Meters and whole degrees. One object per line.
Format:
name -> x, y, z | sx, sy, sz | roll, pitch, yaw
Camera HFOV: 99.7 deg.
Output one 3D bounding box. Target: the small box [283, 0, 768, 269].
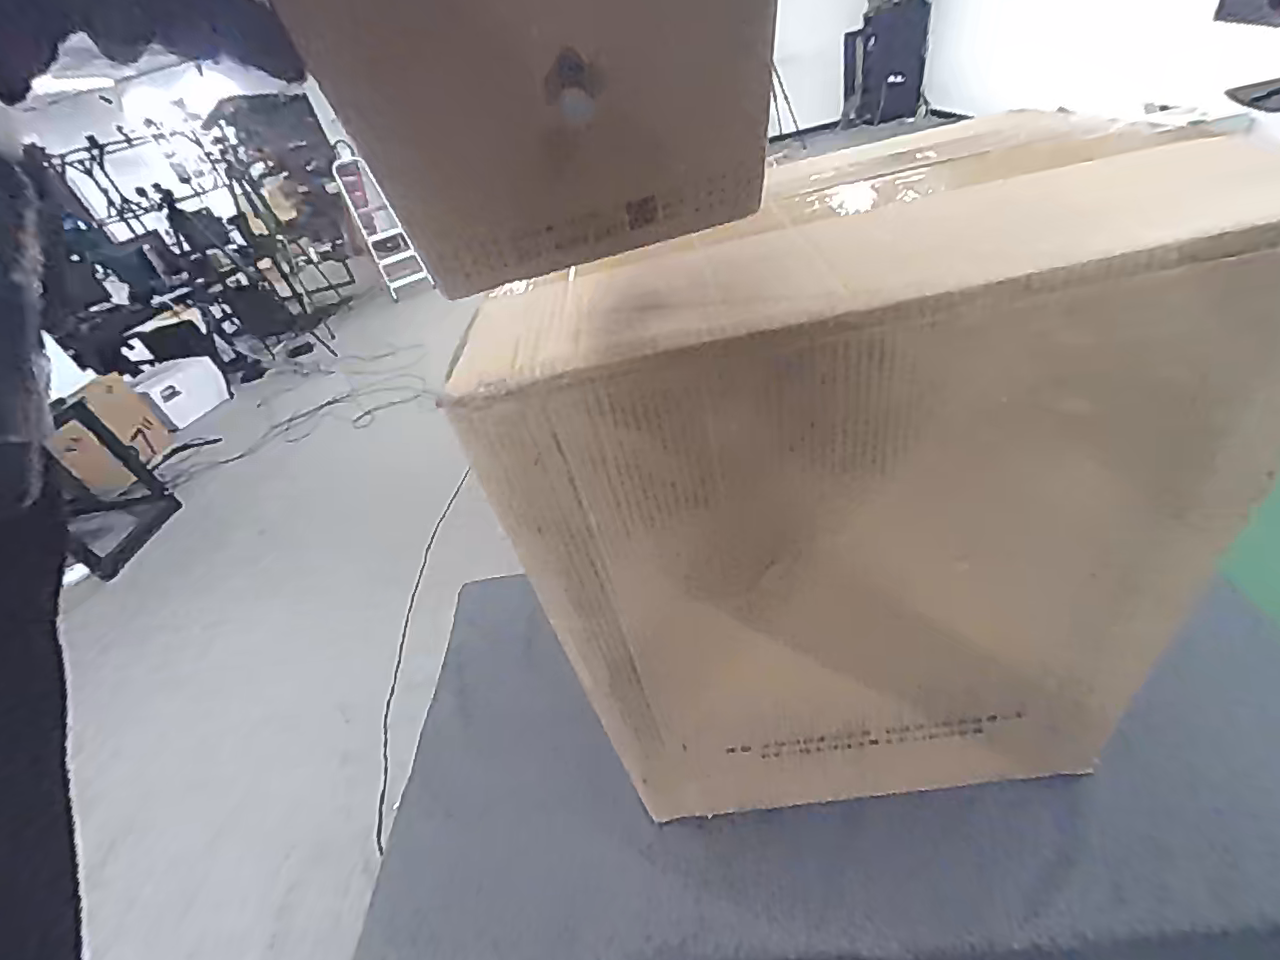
small box -> -0.045, -0.221, 0.243 | 0.168, 0.176, 0.179 | -15, 63, 0
